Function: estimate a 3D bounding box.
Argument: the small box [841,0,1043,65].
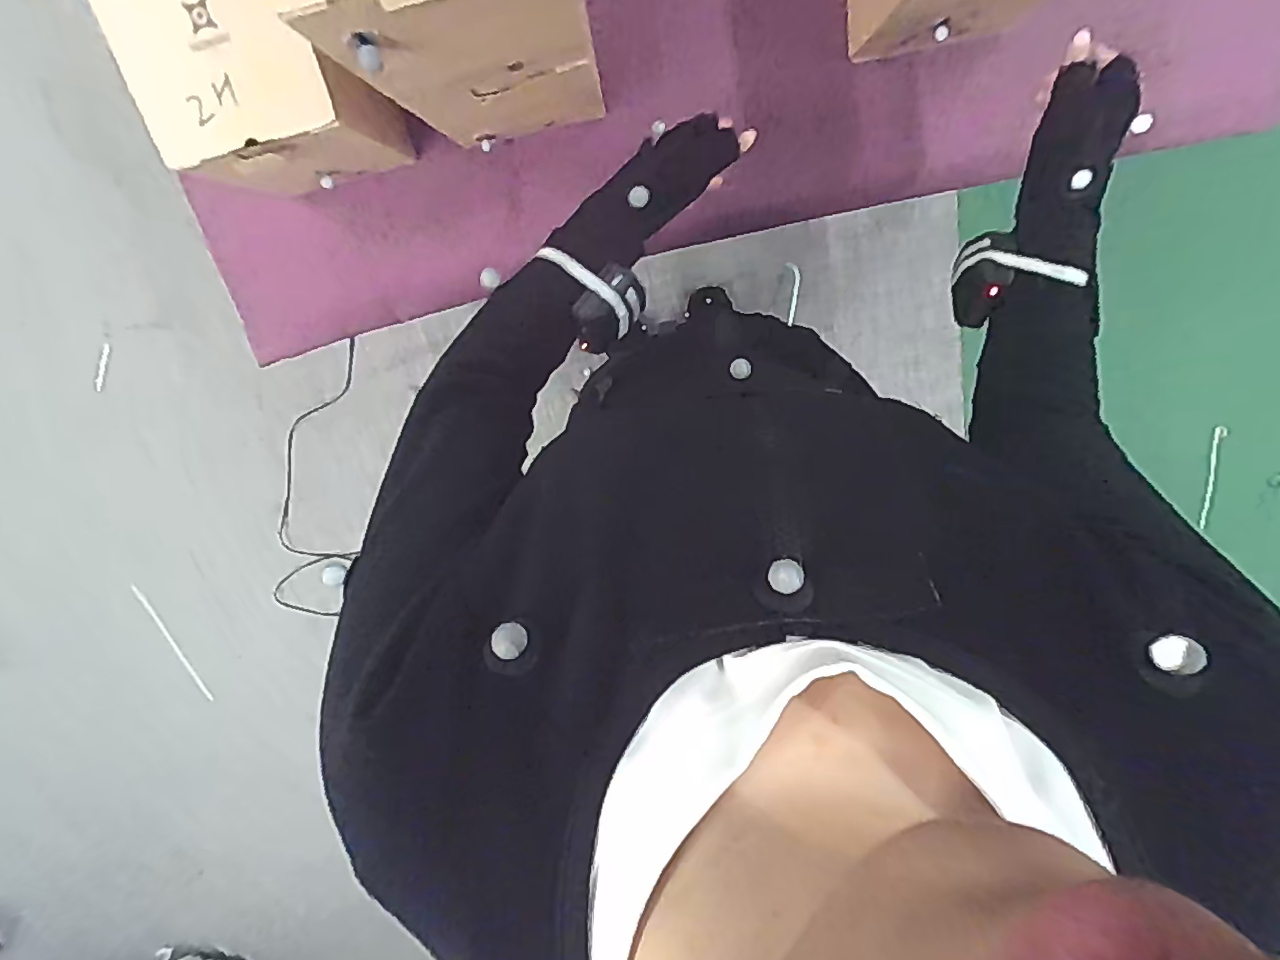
[{"bbox_3d":[0.282,-0.510,0.472,0.168,0.176,0.179,-9,109,5],"label":"small box"}]

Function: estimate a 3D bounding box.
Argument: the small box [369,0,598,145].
[{"bbox_3d":[-0.139,-0.437,0.506,0.168,0.176,0.179,-10,109,4],"label":"small box"}]

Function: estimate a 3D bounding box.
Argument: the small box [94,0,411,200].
[{"bbox_3d":[-0.355,-0.394,0.524,0.168,0.176,0.179,-11,109,5],"label":"small box"}]
